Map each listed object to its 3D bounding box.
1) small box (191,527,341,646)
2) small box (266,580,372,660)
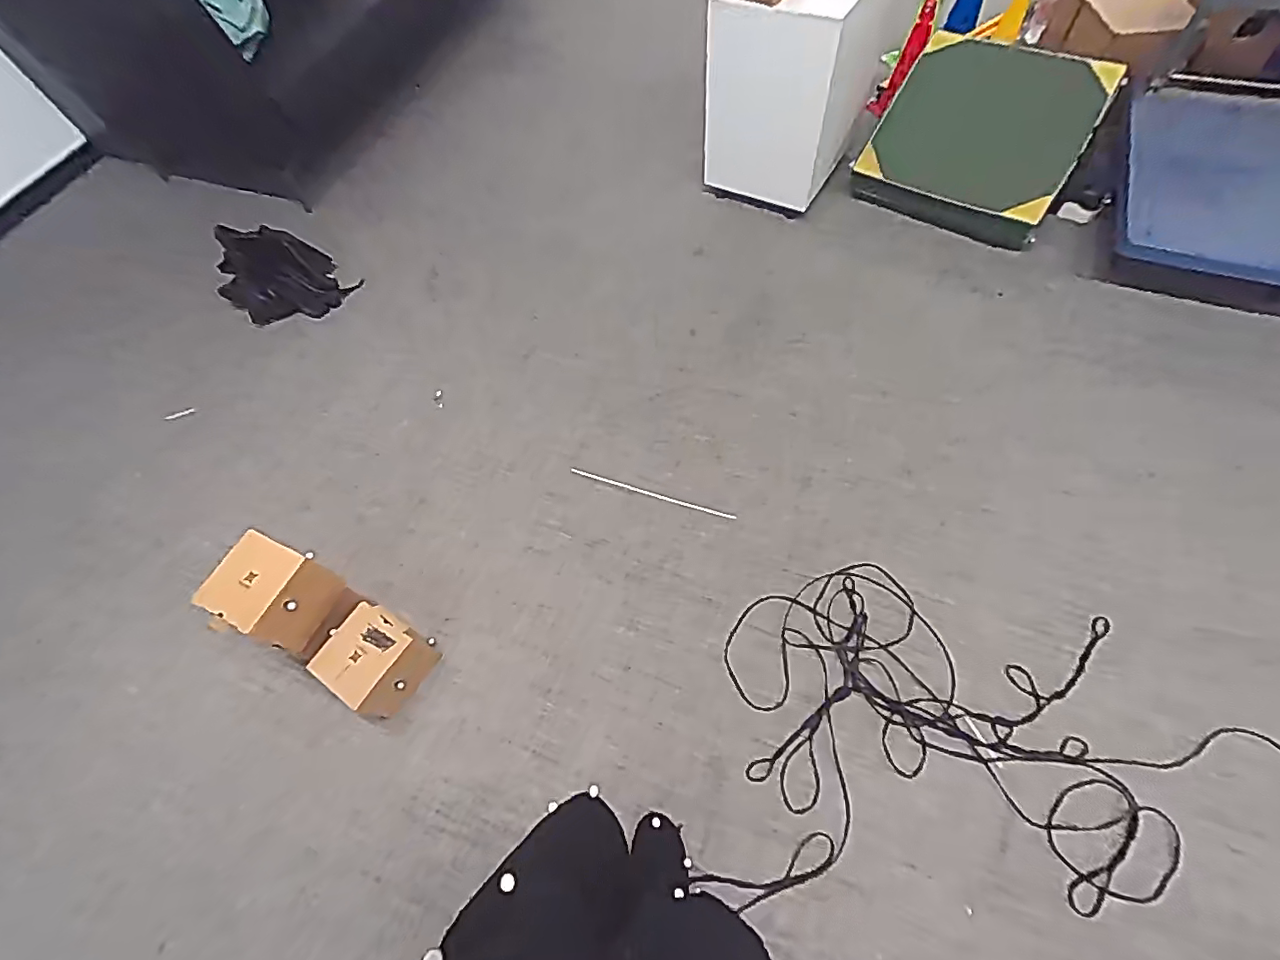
[{"bbox_3d":[-0.788,0.233,1.167,0.168,0.176,0.179,21,66,14],"label":"small box"},{"bbox_3d":[-0.793,0.317,1.308,0.168,0.176,0.179,21,67,15],"label":"small box"}]
